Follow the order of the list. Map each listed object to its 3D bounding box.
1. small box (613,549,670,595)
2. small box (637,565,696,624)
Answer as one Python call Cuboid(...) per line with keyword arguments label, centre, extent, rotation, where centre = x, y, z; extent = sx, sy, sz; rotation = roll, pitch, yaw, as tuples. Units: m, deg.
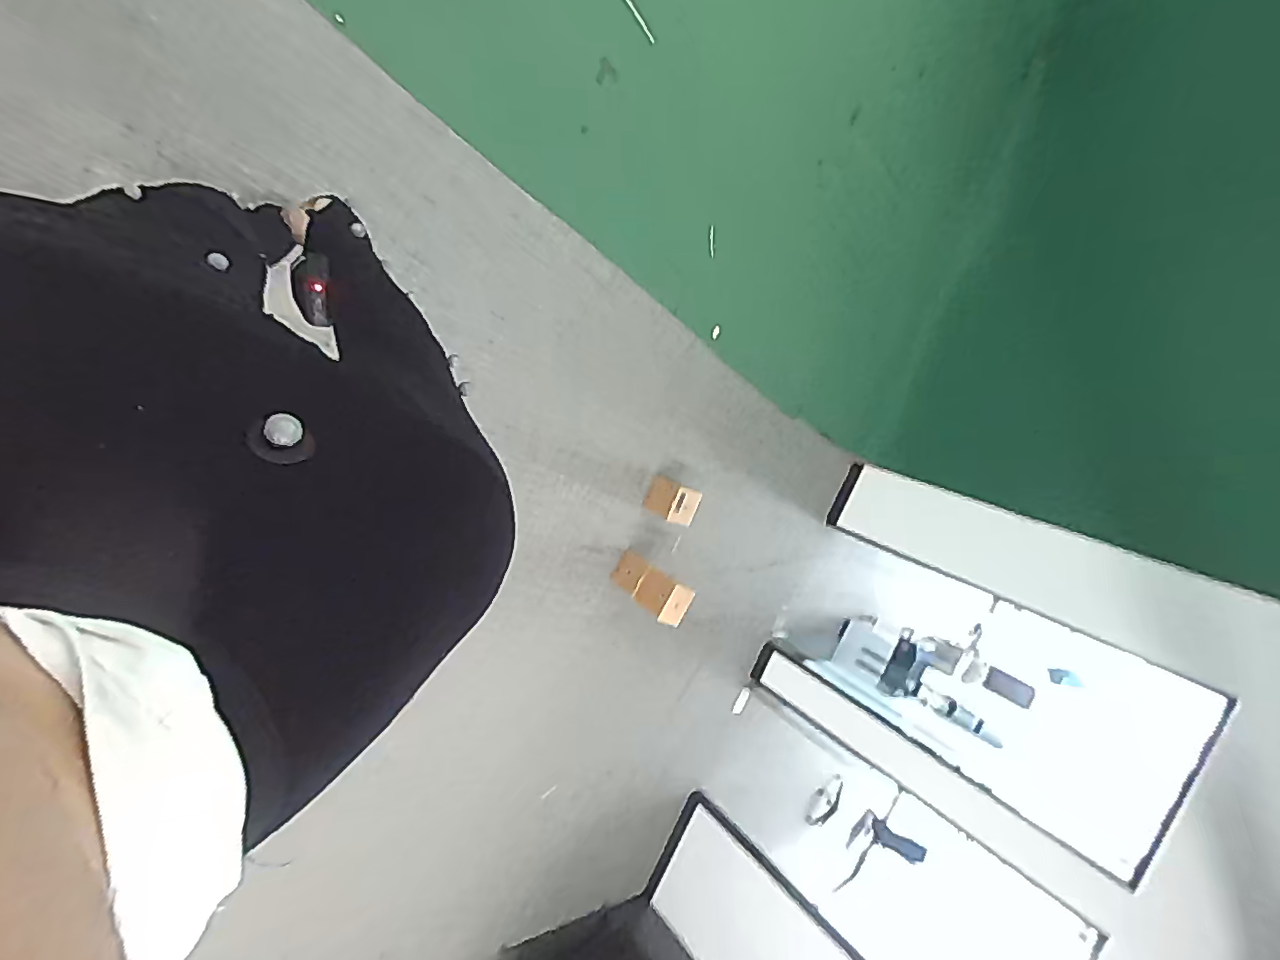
Cuboid(label="small box", centre=(0.005, 0.437, 2.493), extent=(0.179, 0.176, 0.168), rotation=(35, 86, -46))
Cuboid(label="small box", centre=(0.110, 0.504, 2.387), extent=(0.168, 0.176, 0.179), rotation=(32, 86, -47))
